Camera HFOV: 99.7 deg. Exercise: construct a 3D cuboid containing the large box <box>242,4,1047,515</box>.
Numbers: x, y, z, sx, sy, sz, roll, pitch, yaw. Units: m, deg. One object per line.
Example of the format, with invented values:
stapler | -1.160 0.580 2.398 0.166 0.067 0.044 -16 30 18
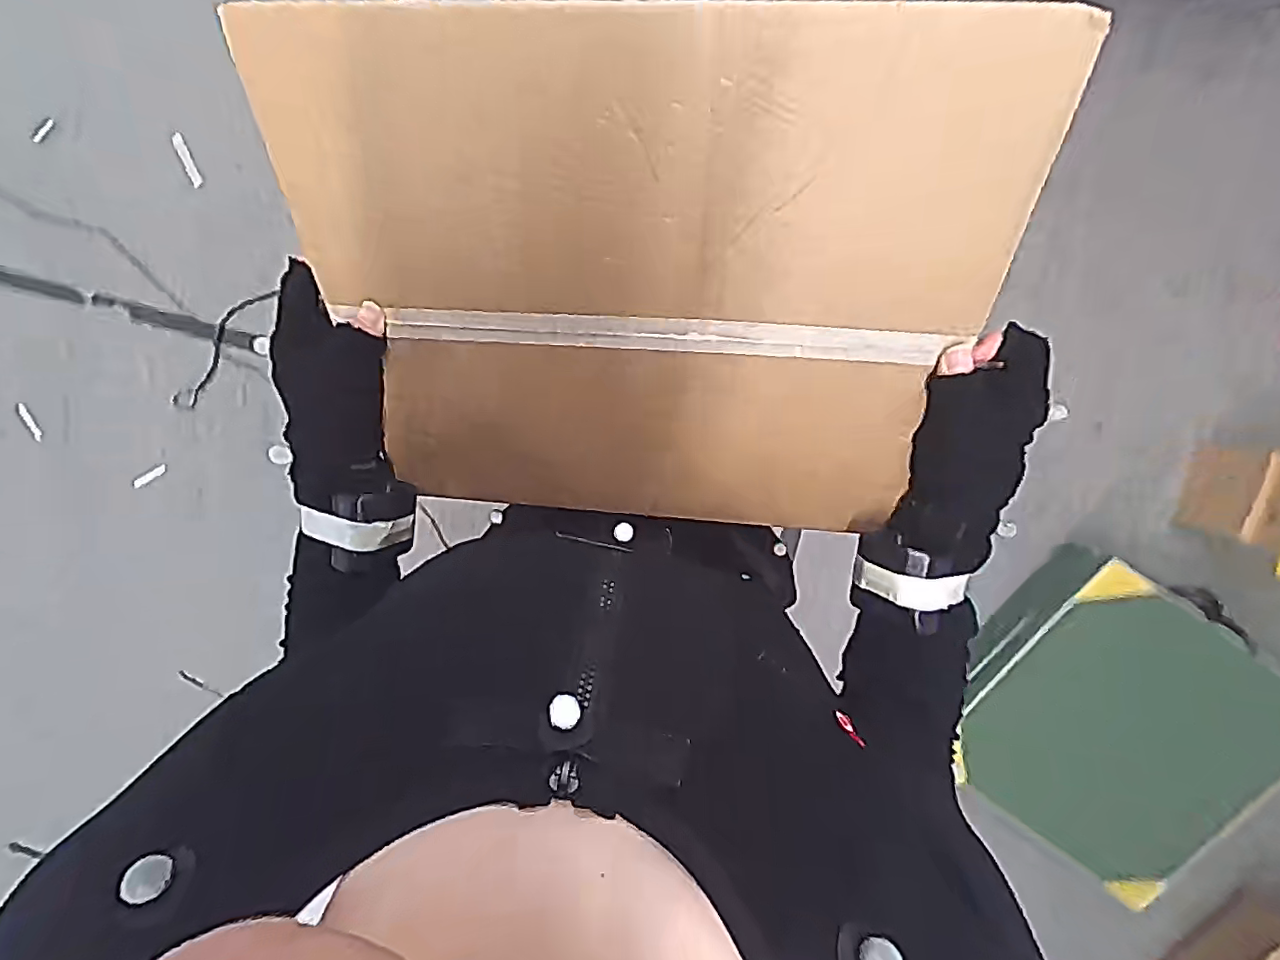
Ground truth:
large box | 0.004 -0.192 0.468 0.408 0.320 0.320 3 130 5
